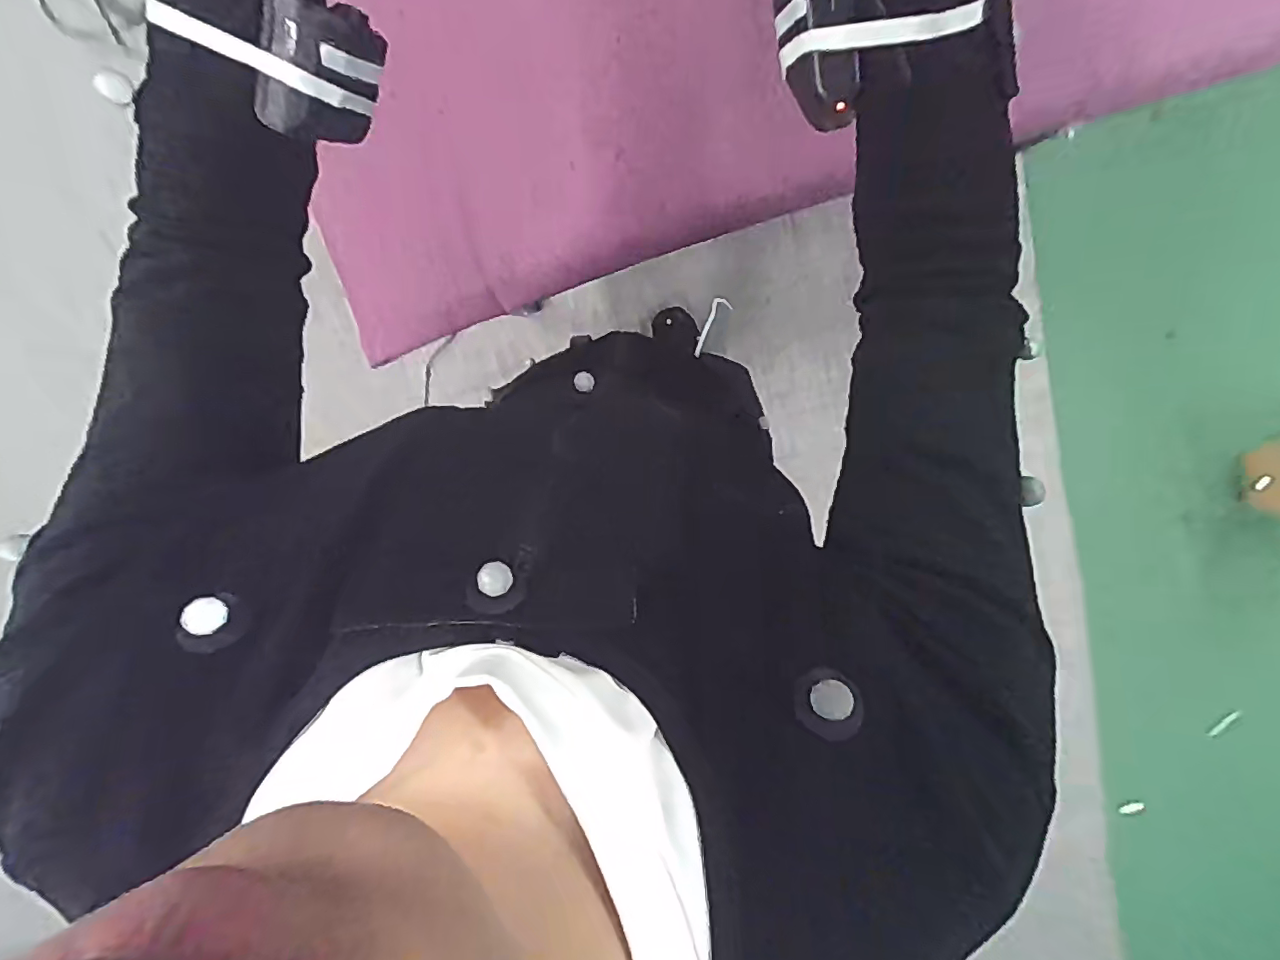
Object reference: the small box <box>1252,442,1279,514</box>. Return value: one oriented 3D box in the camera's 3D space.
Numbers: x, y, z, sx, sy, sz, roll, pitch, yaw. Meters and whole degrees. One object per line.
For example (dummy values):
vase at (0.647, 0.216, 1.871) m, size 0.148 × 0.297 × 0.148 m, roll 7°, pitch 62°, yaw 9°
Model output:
small box at (1.635, -0.007, 1.283) m, size 0.179 × 0.176 × 0.168 m, roll -16°, pitch 104°, yaw 9°
